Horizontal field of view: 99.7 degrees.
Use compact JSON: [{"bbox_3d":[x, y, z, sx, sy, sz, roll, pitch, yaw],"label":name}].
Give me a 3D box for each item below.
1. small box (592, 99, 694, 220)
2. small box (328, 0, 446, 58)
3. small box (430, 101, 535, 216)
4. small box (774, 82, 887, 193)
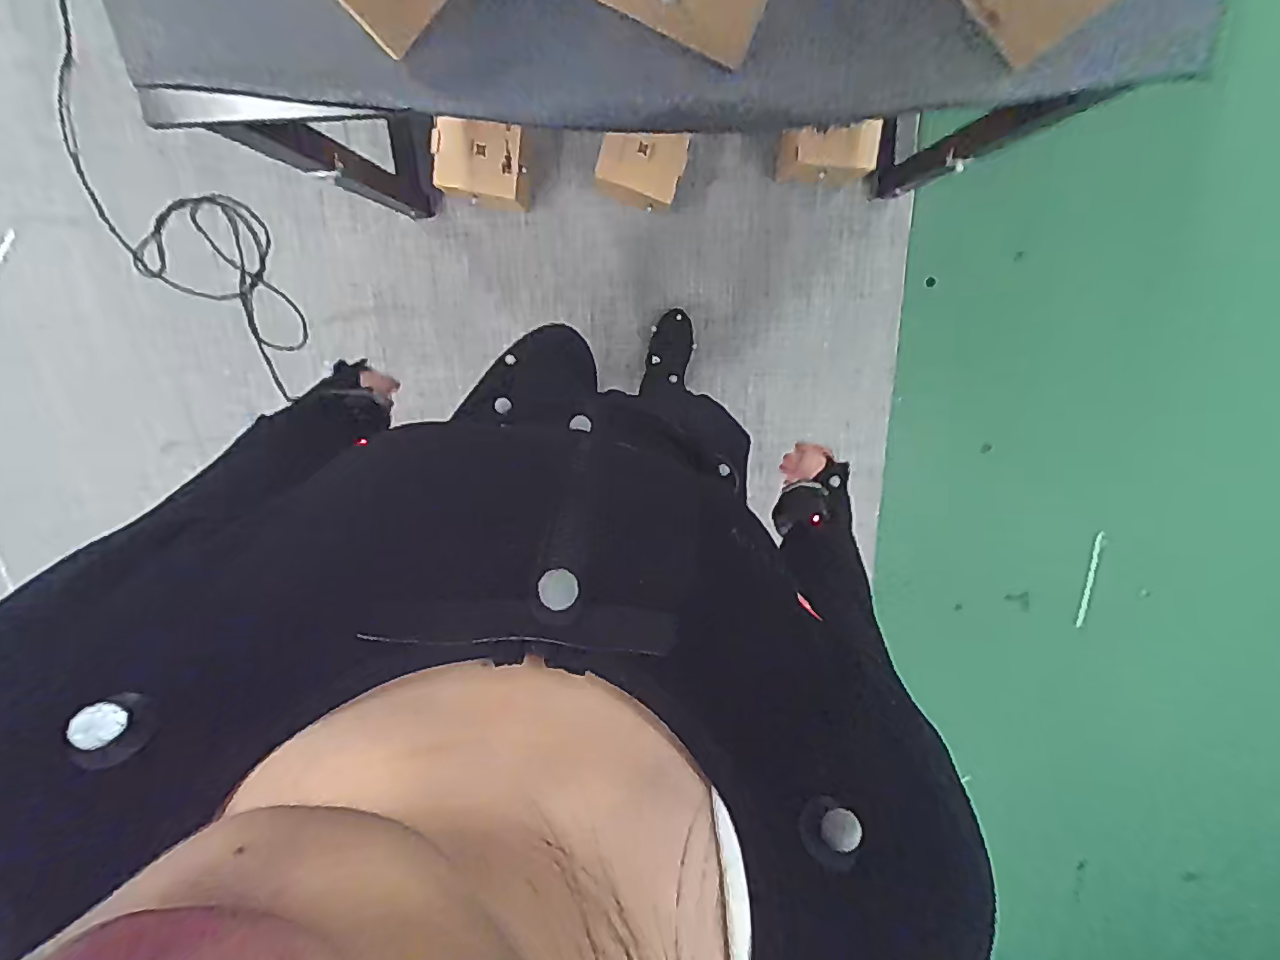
[{"bbox_3d":[0.005,-0.696,1.200,0.179,0.176,0.168,18,105,-5],"label":"small box"},{"bbox_3d":[-0.261,-0.539,0.482,0.179,0.176,0.168,-43,103,10],"label":"small box"},{"bbox_3d":[-0.342,-0.697,1.192,0.179,0.176,0.168,10,106,-3],"label":"small box"},{"bbox_3d":[0.409,-0.746,1.194,0.179,0.176,0.168,3,107,-3],"label":"small box"}]
